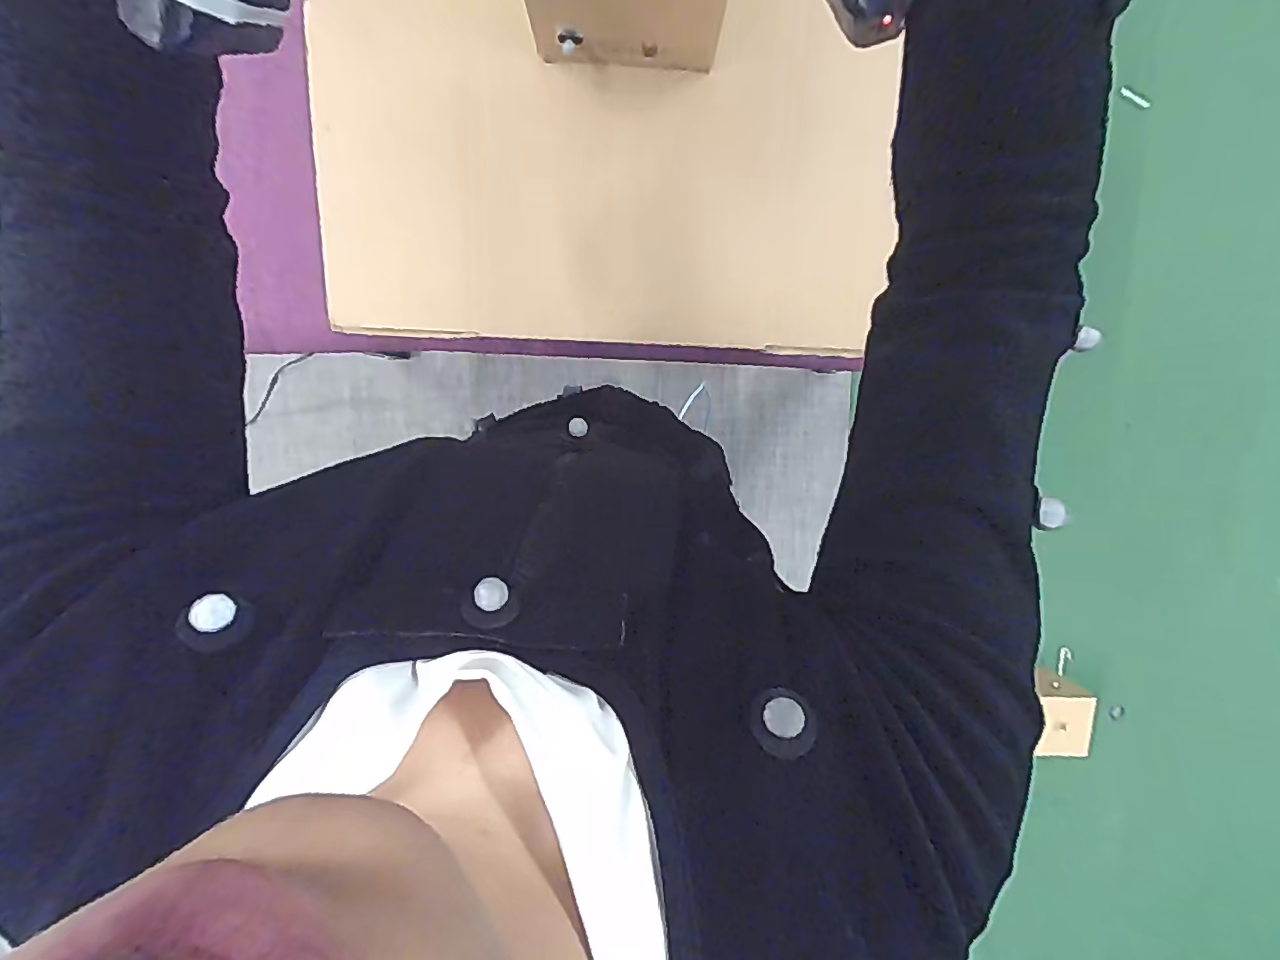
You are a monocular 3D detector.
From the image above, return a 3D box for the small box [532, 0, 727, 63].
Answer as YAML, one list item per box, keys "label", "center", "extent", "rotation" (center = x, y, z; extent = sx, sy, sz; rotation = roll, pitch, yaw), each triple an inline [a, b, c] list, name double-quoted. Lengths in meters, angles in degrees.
- label: "small box"
  center: [-0.005, -0.466, 0.417]
  extent: [0.168, 0.176, 0.179]
  rotation: [3, 95, -1]

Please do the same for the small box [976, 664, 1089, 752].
- label: "small box"
  center: [1.075, 0.624, 1.494]
  extent: [0.179, 0.176, 0.168]
  rotation: [3, 98, -1]
